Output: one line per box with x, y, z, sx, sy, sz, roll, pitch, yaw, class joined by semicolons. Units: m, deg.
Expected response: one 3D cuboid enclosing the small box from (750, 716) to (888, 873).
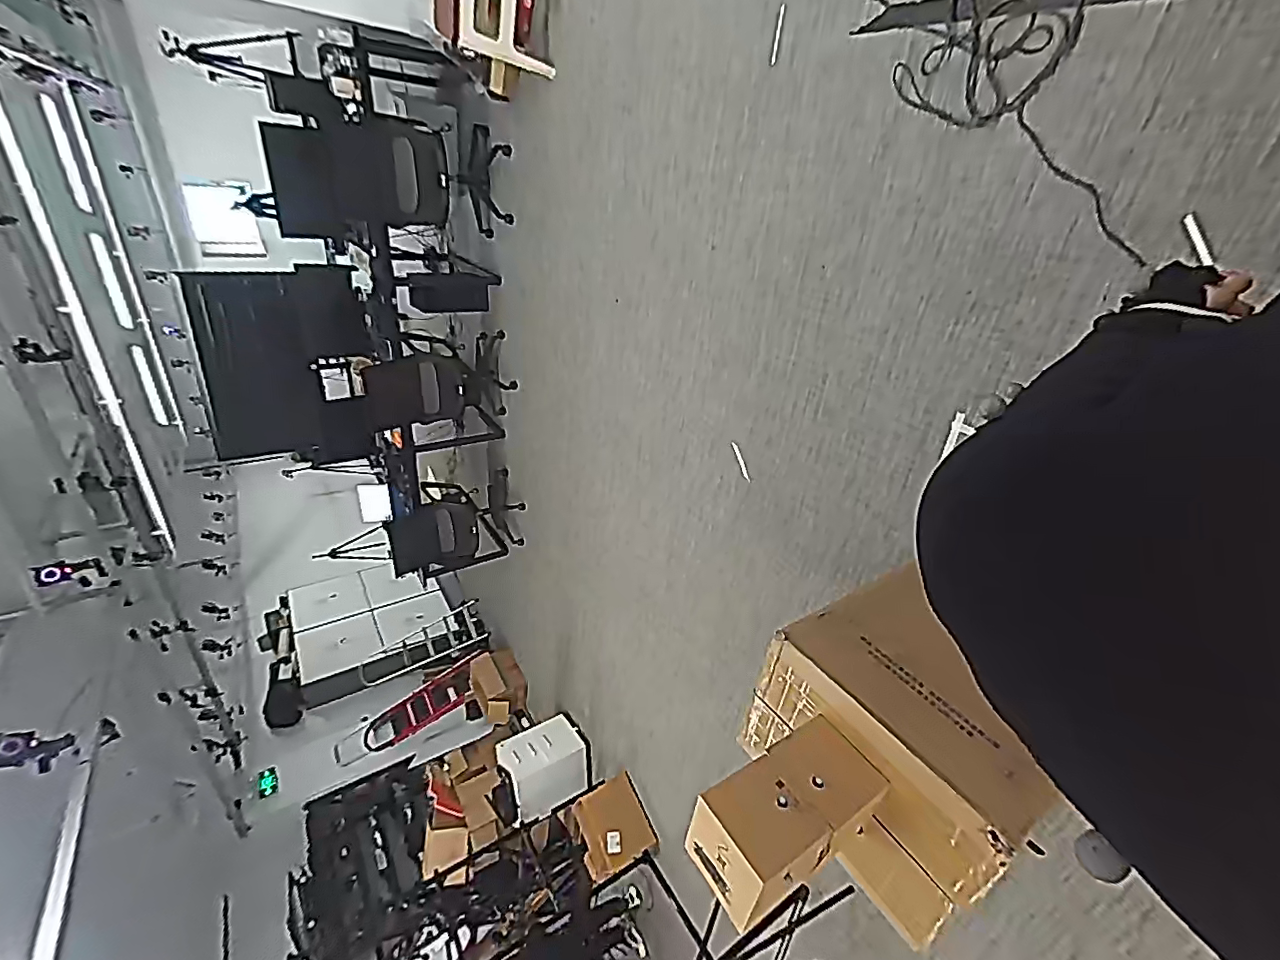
0.350;0.606;1.063;0.179;0.176;0.168;42;135;44;small box
